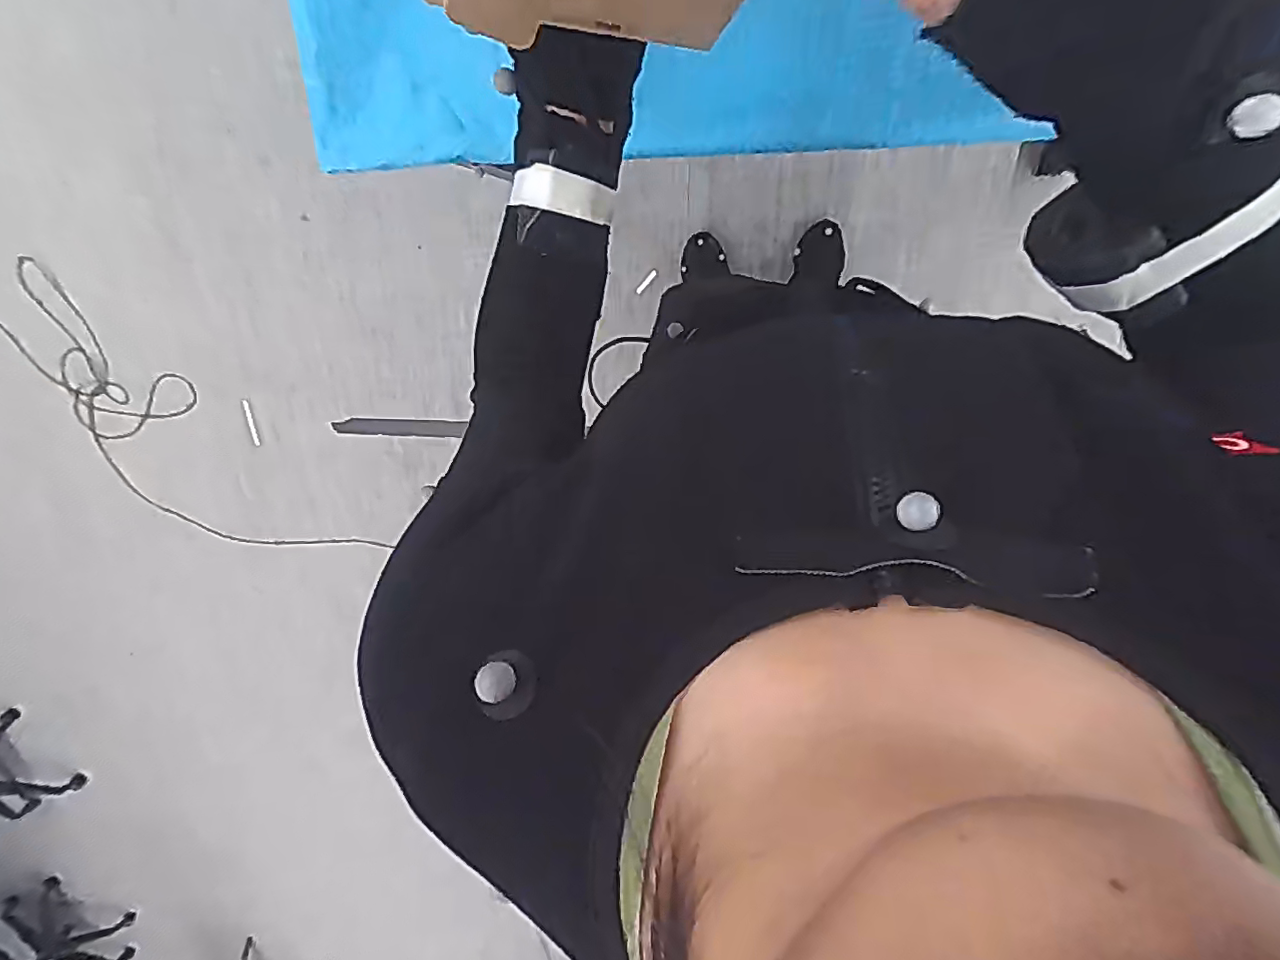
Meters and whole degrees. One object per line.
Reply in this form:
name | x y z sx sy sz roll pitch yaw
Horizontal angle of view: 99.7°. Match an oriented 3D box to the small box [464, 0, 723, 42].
small box | -0.028 -0.297 0.200 0.168 0.176 0.179 5 117 -6
